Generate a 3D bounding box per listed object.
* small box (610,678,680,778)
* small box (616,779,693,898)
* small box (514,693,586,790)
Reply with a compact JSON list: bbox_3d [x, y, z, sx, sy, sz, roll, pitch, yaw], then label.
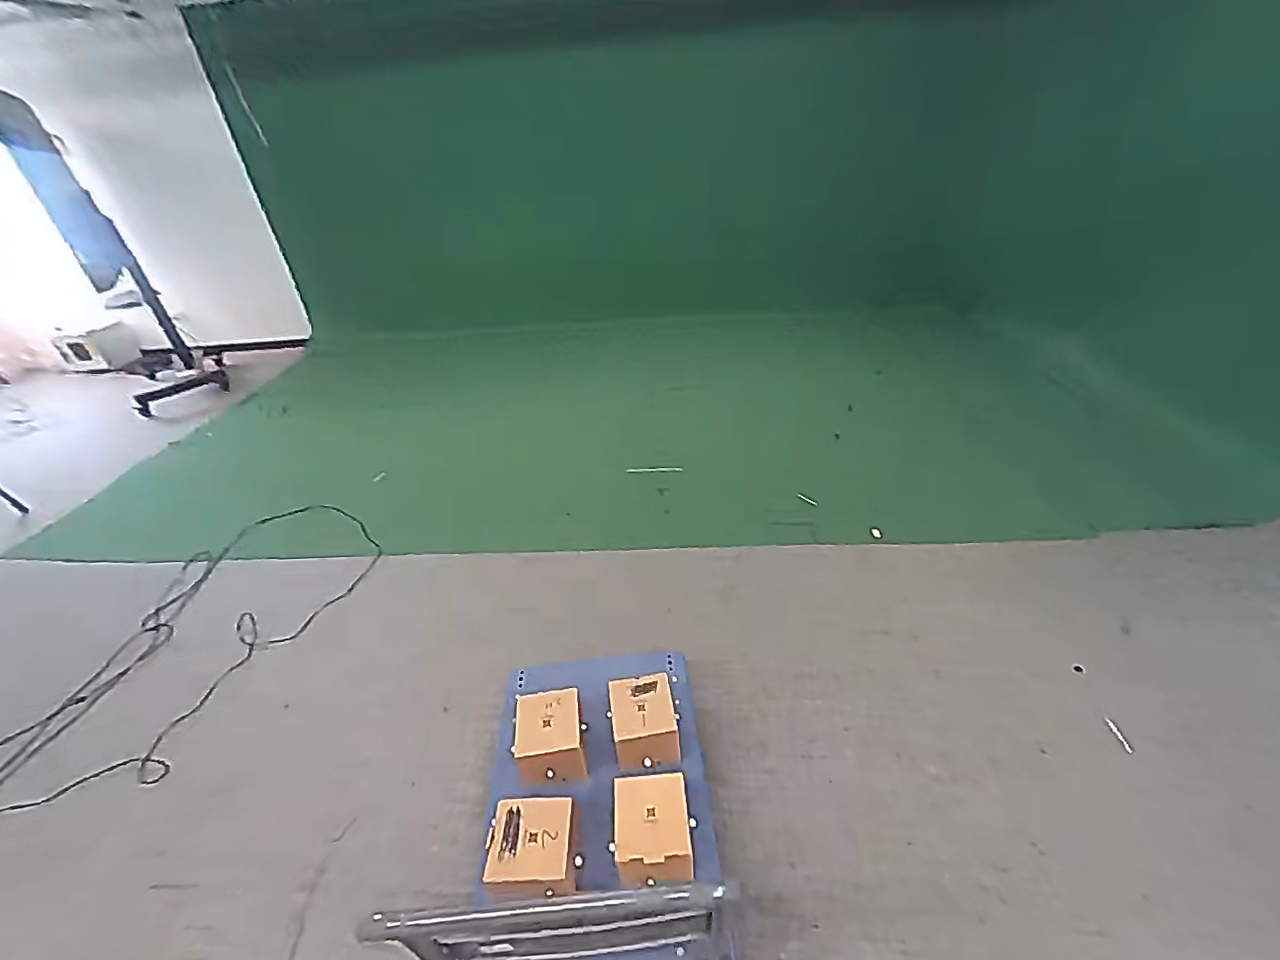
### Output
[{"bbox_3d":[0.012,0.675,1.475,0.168,0.176,0.179,-8,36,-3],"label":"small box"},{"bbox_3d":[0.031,0.829,1.253,0.168,0.176,0.179,-5,35,0],"label":"small box"},{"bbox_3d":[-0.237,0.710,1.457,0.168,0.176,0.179,-7,34,-4],"label":"small box"}]
